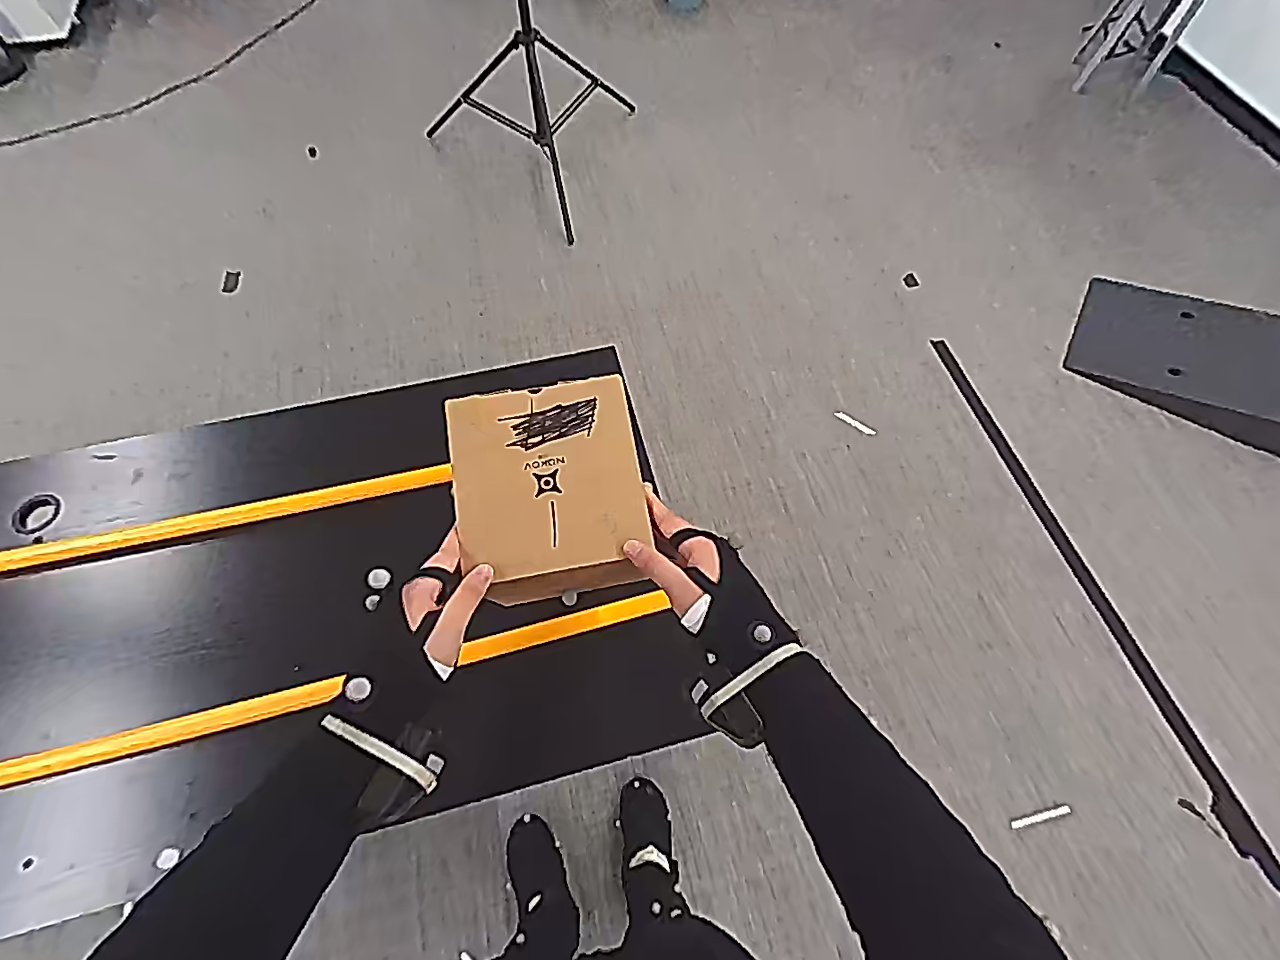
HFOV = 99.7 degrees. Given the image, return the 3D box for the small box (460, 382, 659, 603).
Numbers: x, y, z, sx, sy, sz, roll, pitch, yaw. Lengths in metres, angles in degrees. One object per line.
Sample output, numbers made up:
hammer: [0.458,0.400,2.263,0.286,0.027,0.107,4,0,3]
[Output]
small box: [-0.080,0.022,0.569,0.168,0.176,0.179,-10,72,-5]
